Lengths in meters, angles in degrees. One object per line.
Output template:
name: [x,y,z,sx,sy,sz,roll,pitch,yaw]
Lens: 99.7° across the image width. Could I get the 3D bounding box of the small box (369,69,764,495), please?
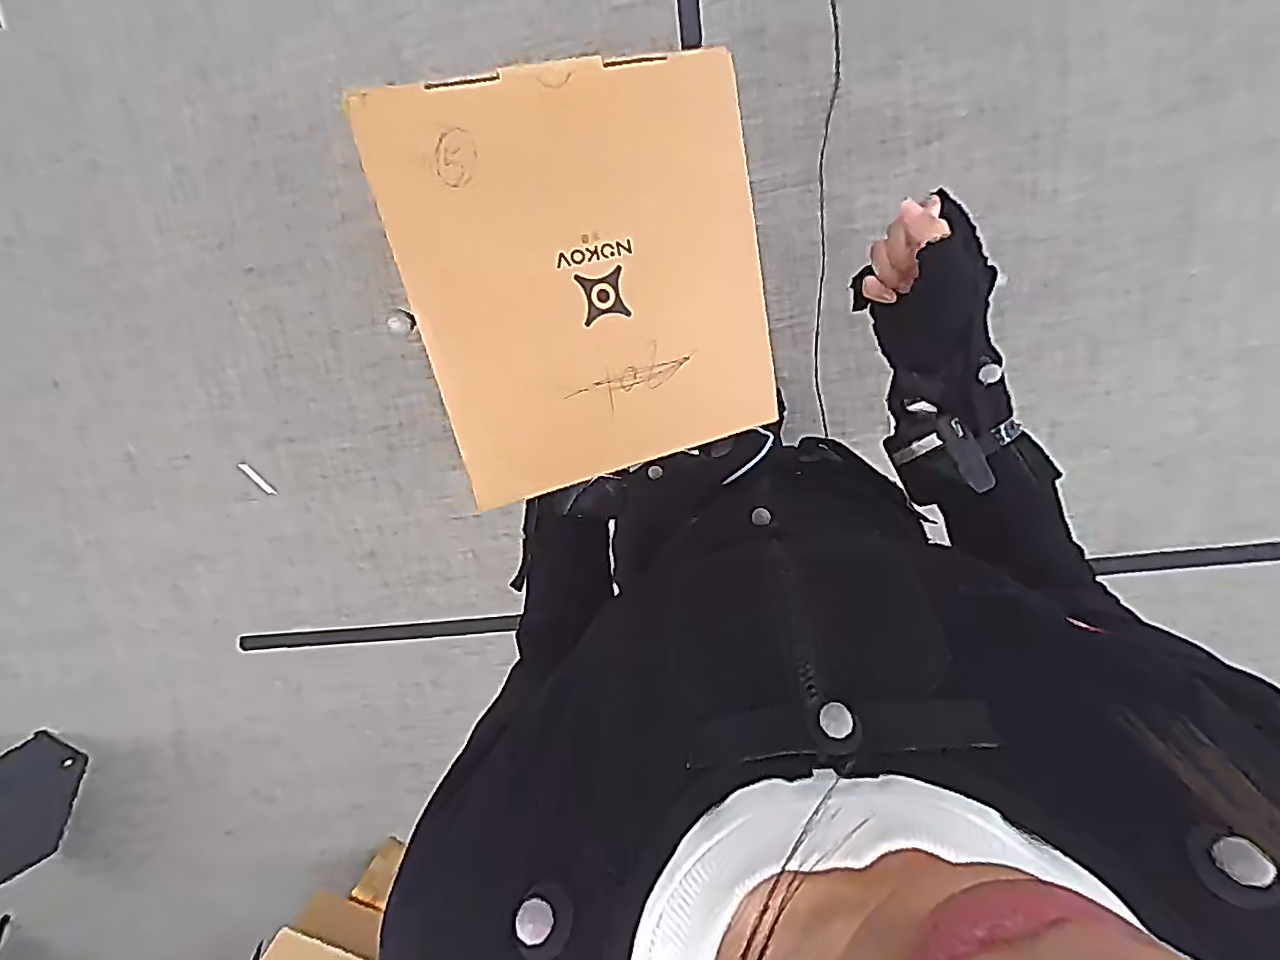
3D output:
small box: [-0.046,-0.112,0.336,0.168,0.176,0.179,-17,109,-14]
